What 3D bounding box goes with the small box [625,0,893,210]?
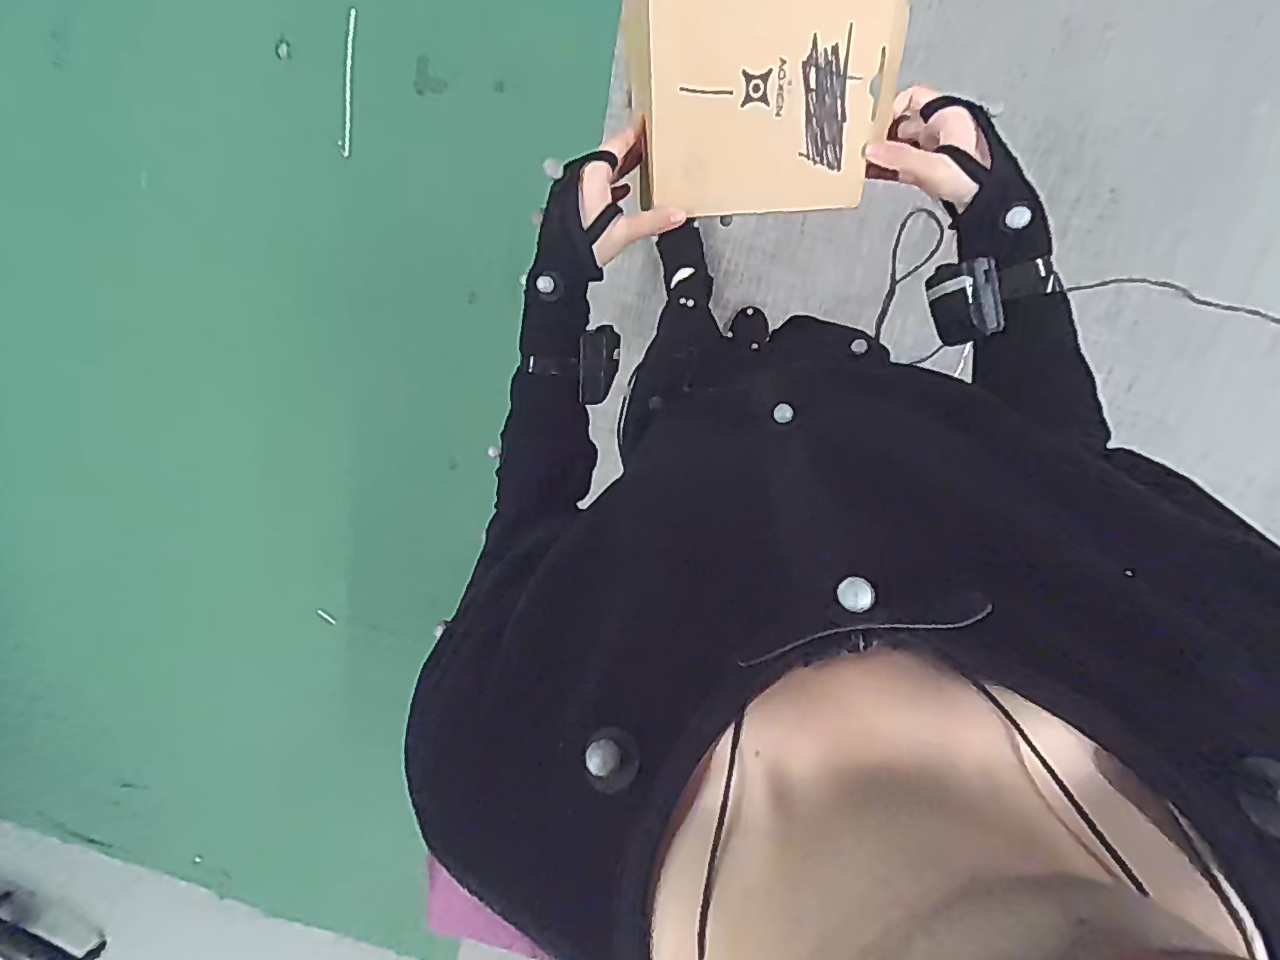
[{"bbox_3d":[0.083,-0.330,0.461,0.179,0.176,0.168,-5,120,-4],"label":"small box"}]
